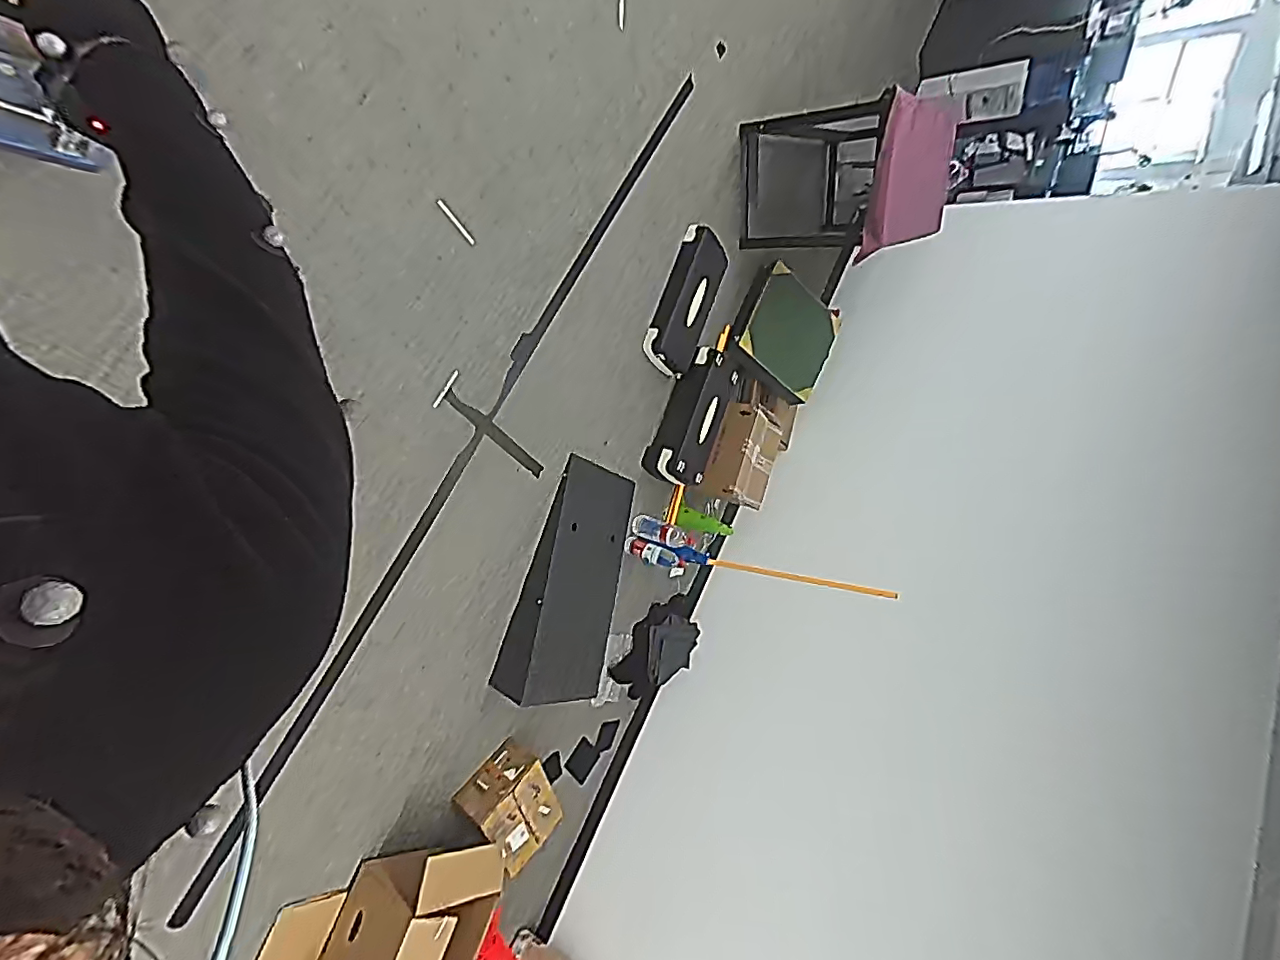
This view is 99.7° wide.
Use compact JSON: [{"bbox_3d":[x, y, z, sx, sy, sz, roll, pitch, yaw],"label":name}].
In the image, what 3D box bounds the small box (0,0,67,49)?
[{"bbox_3d":[-0.887,-0.719,0.712,0.168,0.176,0.179,-5,106,-54],"label":"small box"}]
